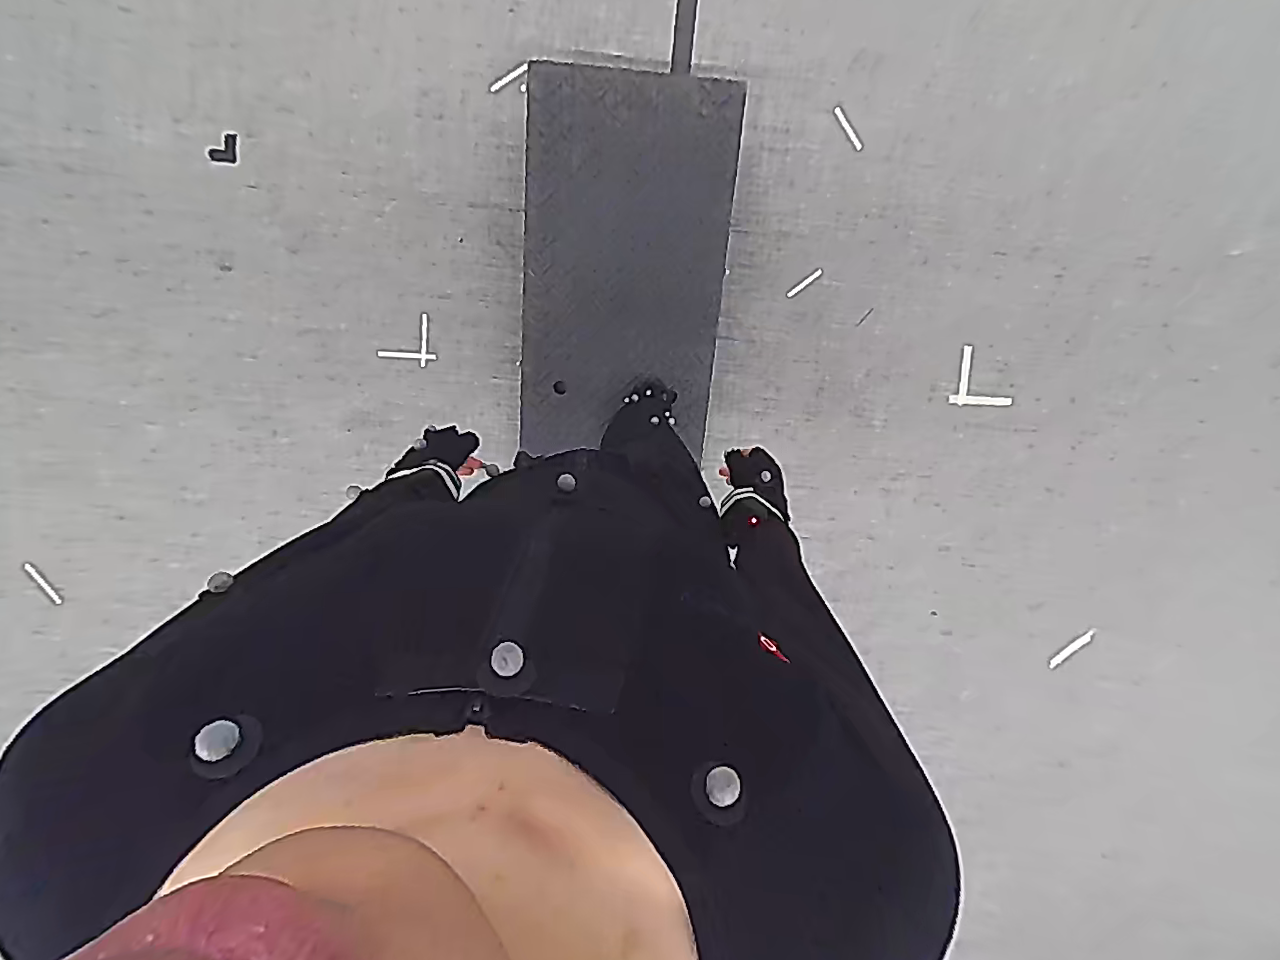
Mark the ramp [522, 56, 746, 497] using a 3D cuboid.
[{"bbox_3d":[-0.043,-0.441,1.343,0.509,0.206,0.991,3,98,-3],"label":"ramp"}]
